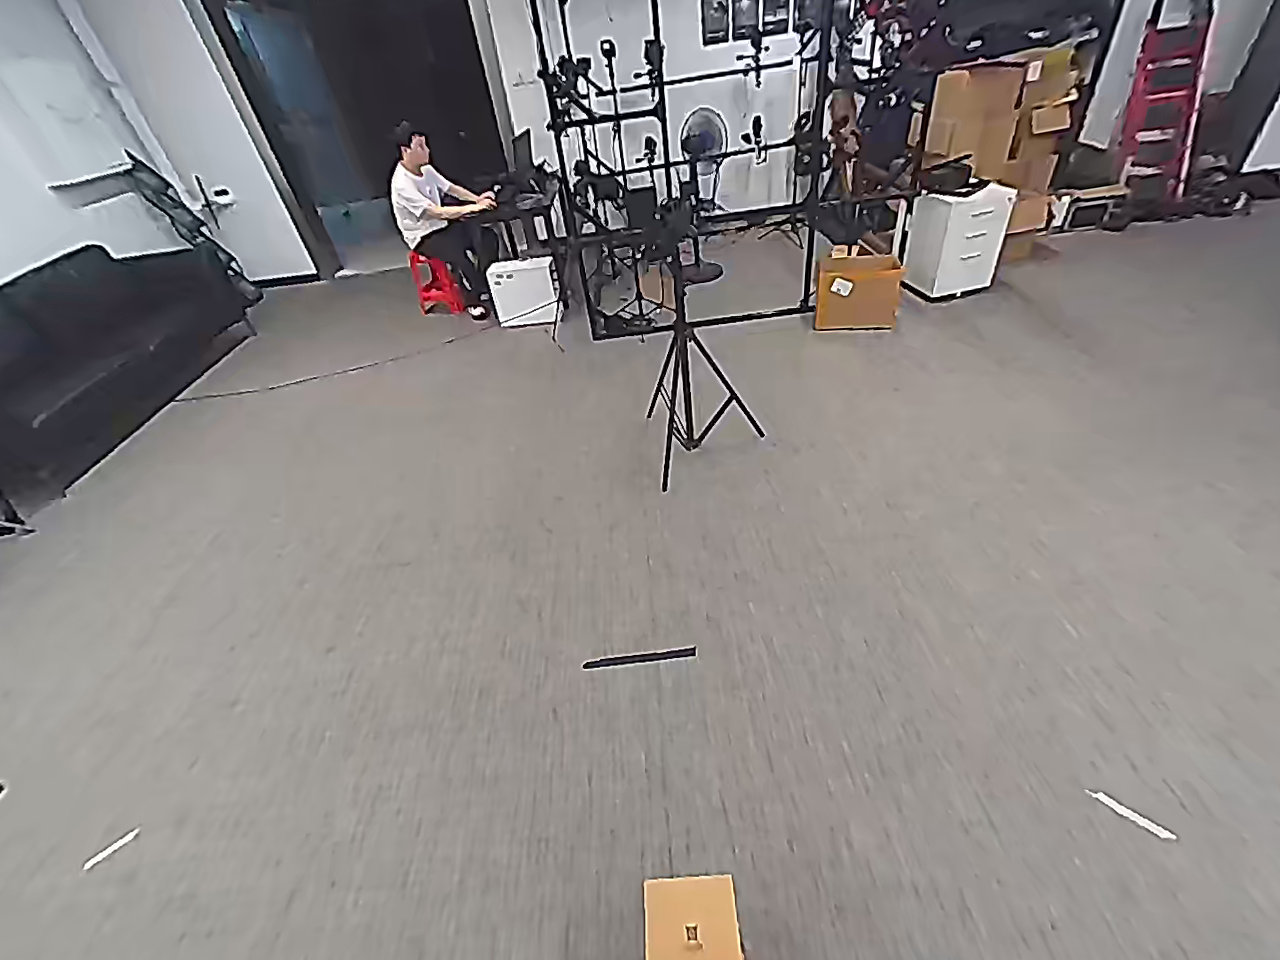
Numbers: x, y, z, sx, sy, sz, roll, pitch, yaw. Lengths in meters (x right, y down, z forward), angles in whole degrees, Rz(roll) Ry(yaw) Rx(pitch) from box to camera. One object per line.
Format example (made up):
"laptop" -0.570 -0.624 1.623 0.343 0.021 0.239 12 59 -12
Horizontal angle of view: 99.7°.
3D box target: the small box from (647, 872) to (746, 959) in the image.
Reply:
"small box" 0.102 0.845 0.979 0.168 0.176 0.179 -6 39 3
